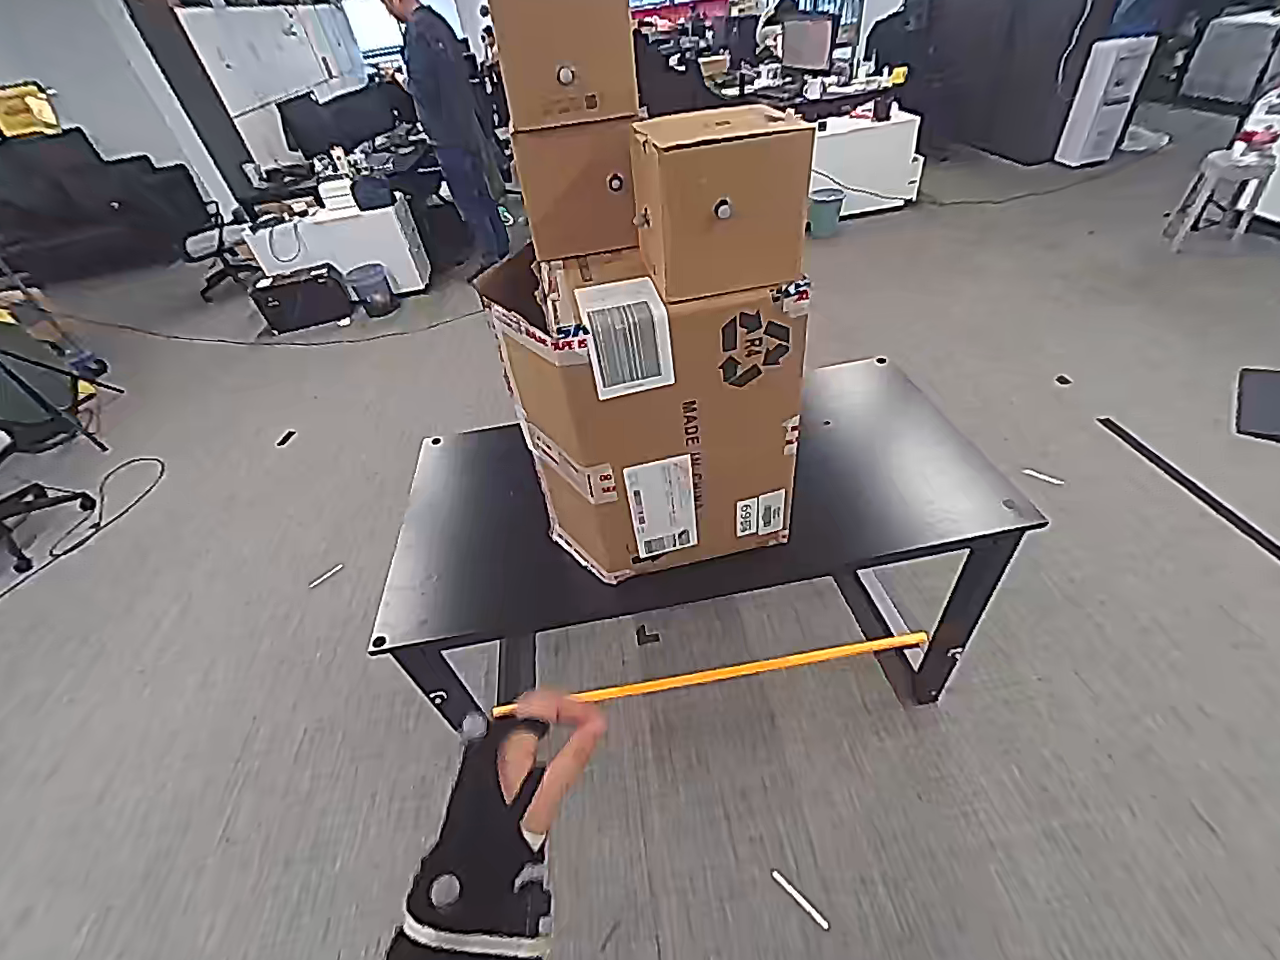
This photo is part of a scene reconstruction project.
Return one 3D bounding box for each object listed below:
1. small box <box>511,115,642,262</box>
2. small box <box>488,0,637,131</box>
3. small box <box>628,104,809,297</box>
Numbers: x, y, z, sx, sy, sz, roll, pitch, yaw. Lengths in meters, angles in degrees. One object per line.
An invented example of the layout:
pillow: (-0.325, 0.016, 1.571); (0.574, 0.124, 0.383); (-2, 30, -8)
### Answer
small box: (-0.090, -0.451, 0.824); (0.179, 0.176, 0.168); (-12, 39, -4)
small box: (-0.104, -0.574, 0.714); (0.168, 0.176, 0.179); (-11, 40, -4)
small box: (0.093, -0.348, 0.681); (0.179, 0.176, 0.168); (-12, 44, -4)
